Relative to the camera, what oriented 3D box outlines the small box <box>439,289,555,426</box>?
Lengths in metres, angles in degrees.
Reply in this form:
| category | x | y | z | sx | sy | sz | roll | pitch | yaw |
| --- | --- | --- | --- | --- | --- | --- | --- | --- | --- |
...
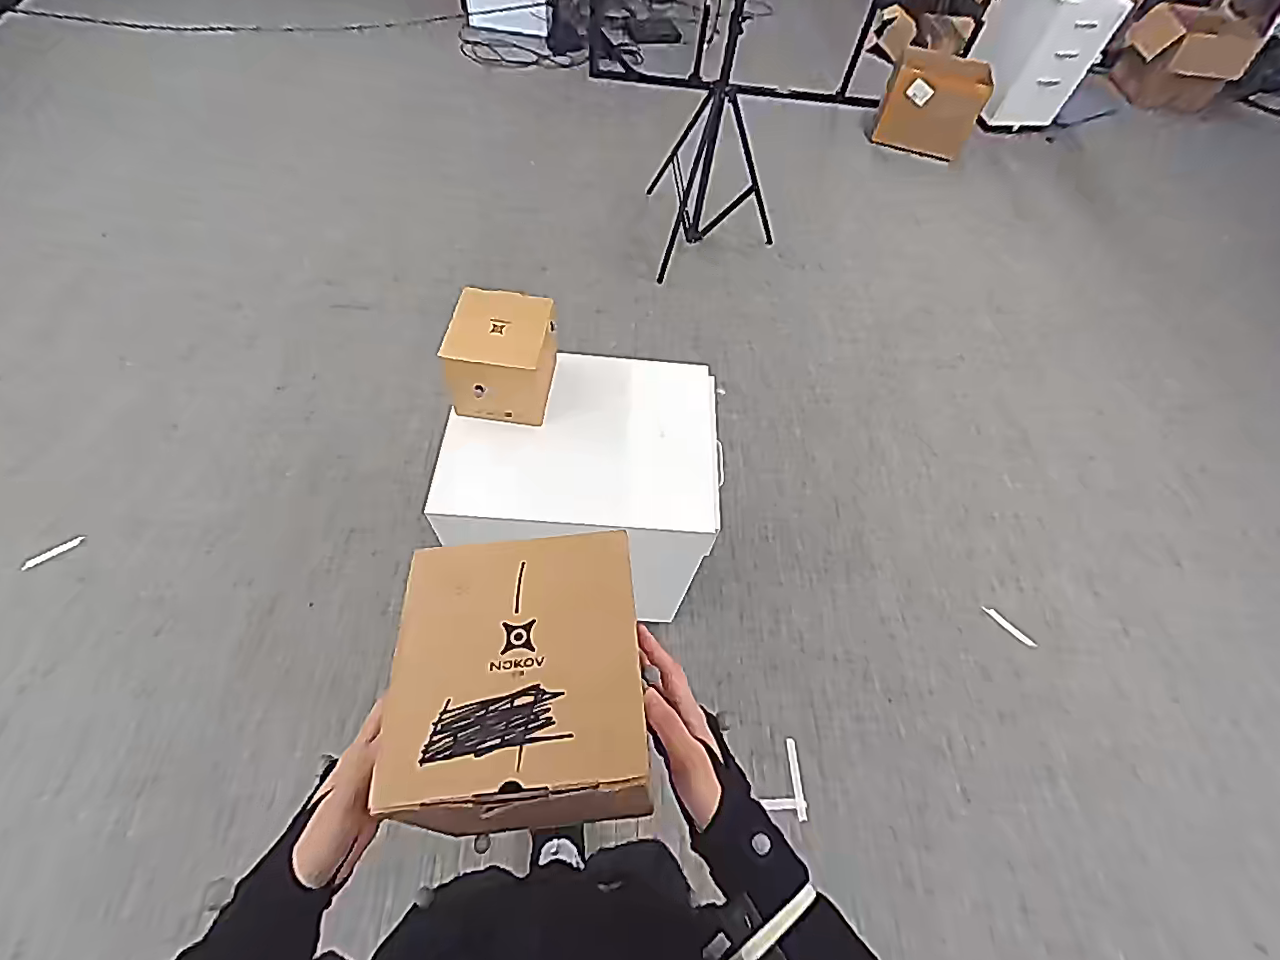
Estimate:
| category | x | y | z | sx | sy | sz | roll | pitch | yaw |
| --- | --- | --- | --- | --- | --- | --- | --- | --- | --- |
| small box | -0.253 | -0.221 | 1.007 | 0.168 | 0.176 | 0.179 | 7 | 59 | -3 |
